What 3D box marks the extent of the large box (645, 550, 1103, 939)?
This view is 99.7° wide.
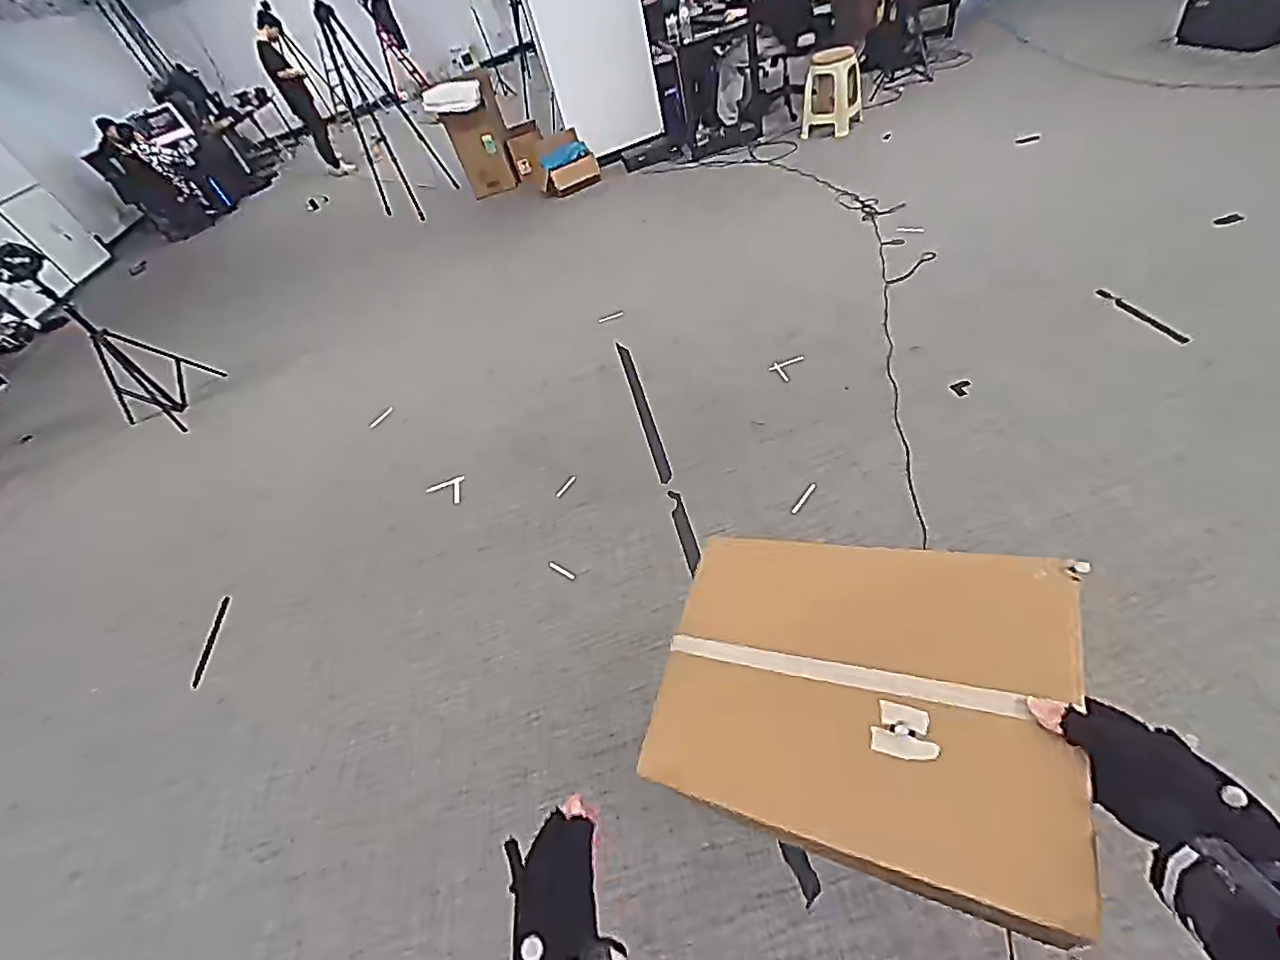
[{"bbox_3d":[0.279,0.304,0.677,0.408,0.320,0.320,-1,54,32],"label":"large box"}]
